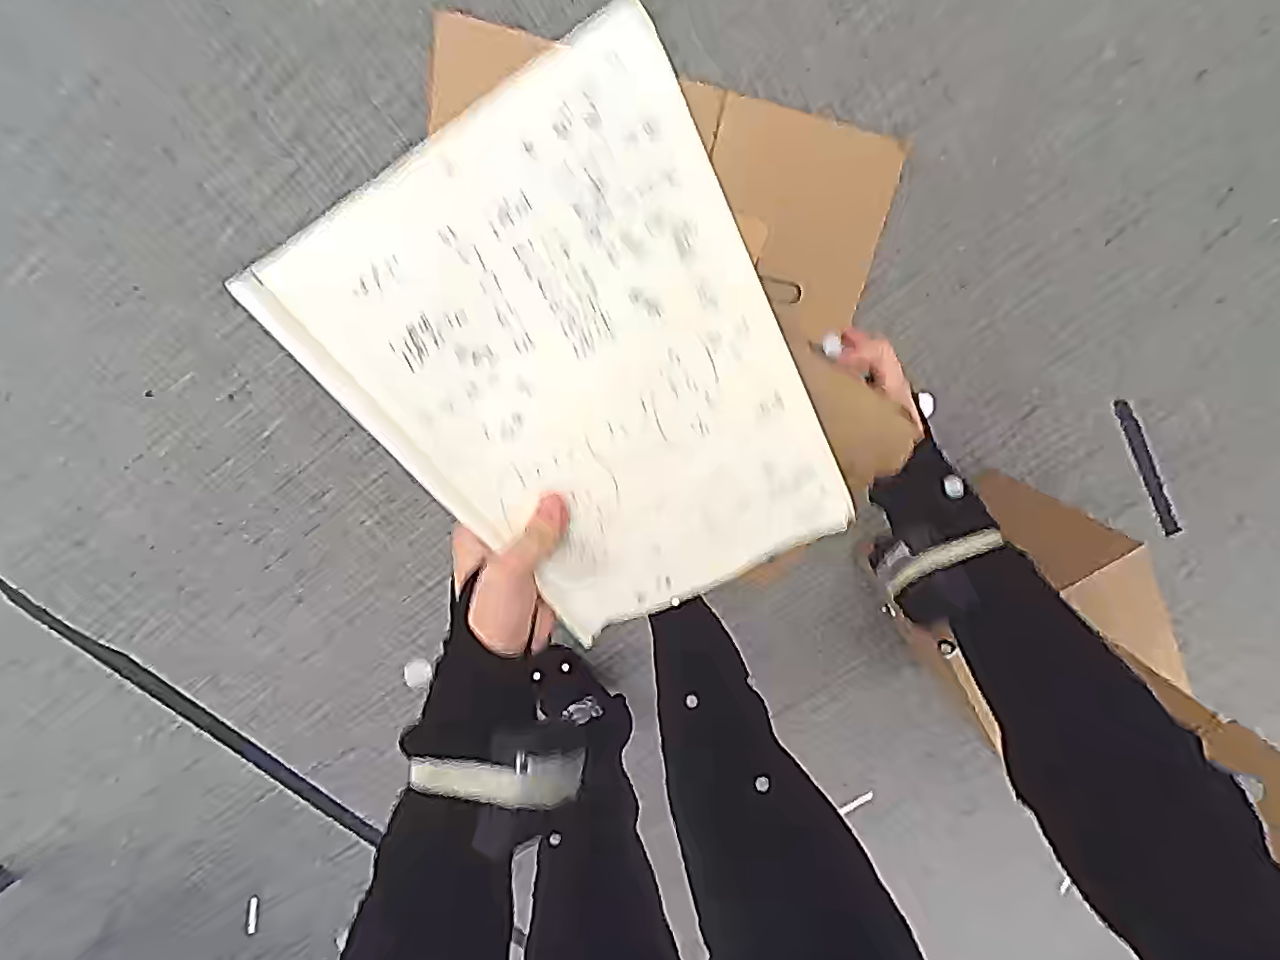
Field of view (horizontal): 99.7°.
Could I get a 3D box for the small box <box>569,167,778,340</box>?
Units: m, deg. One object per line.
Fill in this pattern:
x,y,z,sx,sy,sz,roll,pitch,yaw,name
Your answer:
0.023,-0.227,0.619,0.179,0.176,0.168,14,109,-12,small box

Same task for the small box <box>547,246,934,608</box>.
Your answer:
0.056,-0.036,0.388,0.179,0.176,0.168,21,119,-34,small box
